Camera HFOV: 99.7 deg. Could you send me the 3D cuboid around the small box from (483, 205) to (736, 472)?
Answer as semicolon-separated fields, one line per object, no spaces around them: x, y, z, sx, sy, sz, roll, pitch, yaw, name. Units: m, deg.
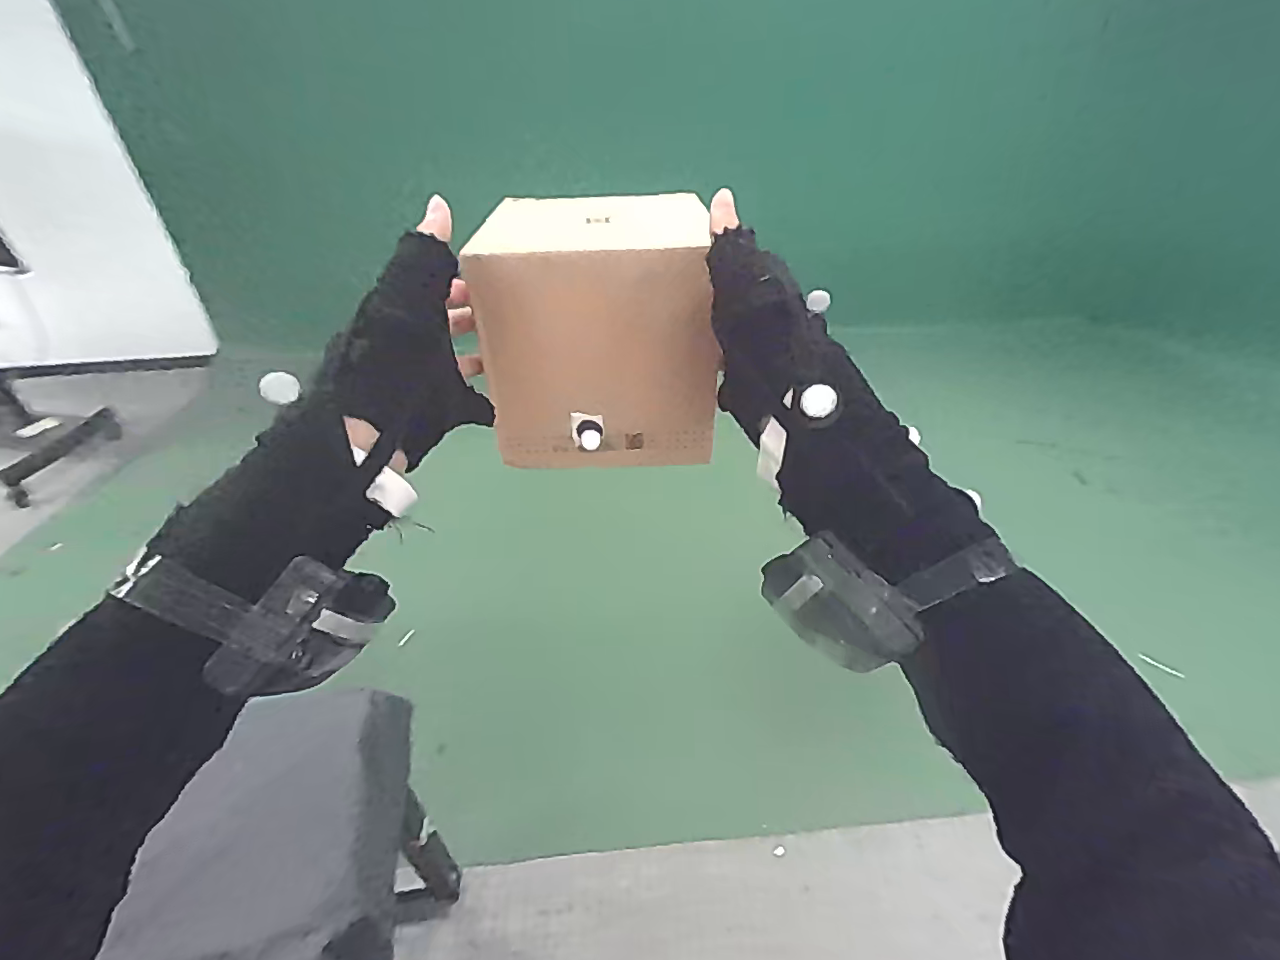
-0.019;-0.123;0.457;0.168;0.176;0.179;-2;37;0;small box
